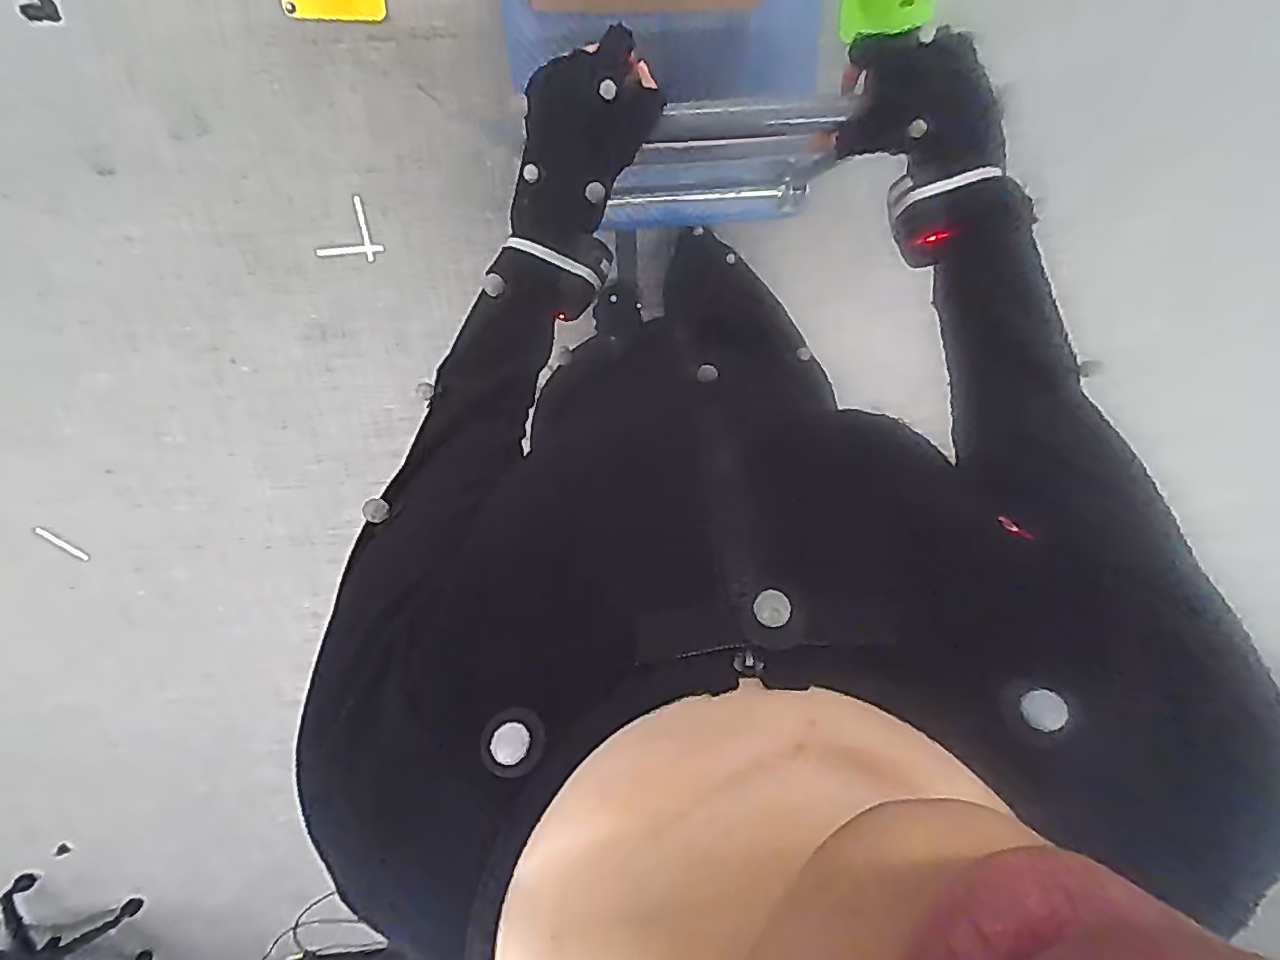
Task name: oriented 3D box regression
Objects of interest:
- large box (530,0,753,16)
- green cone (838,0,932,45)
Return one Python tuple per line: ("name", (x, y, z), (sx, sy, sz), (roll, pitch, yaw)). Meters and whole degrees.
("large box", (0.008, -0.928, 0.790), (0.408, 0.320, 0.320), (-3, 114, -2))
("green cone", (0.534, -0.964, 0.969), (0.202, 0.368, 0.200), (-1, 113, -5))
